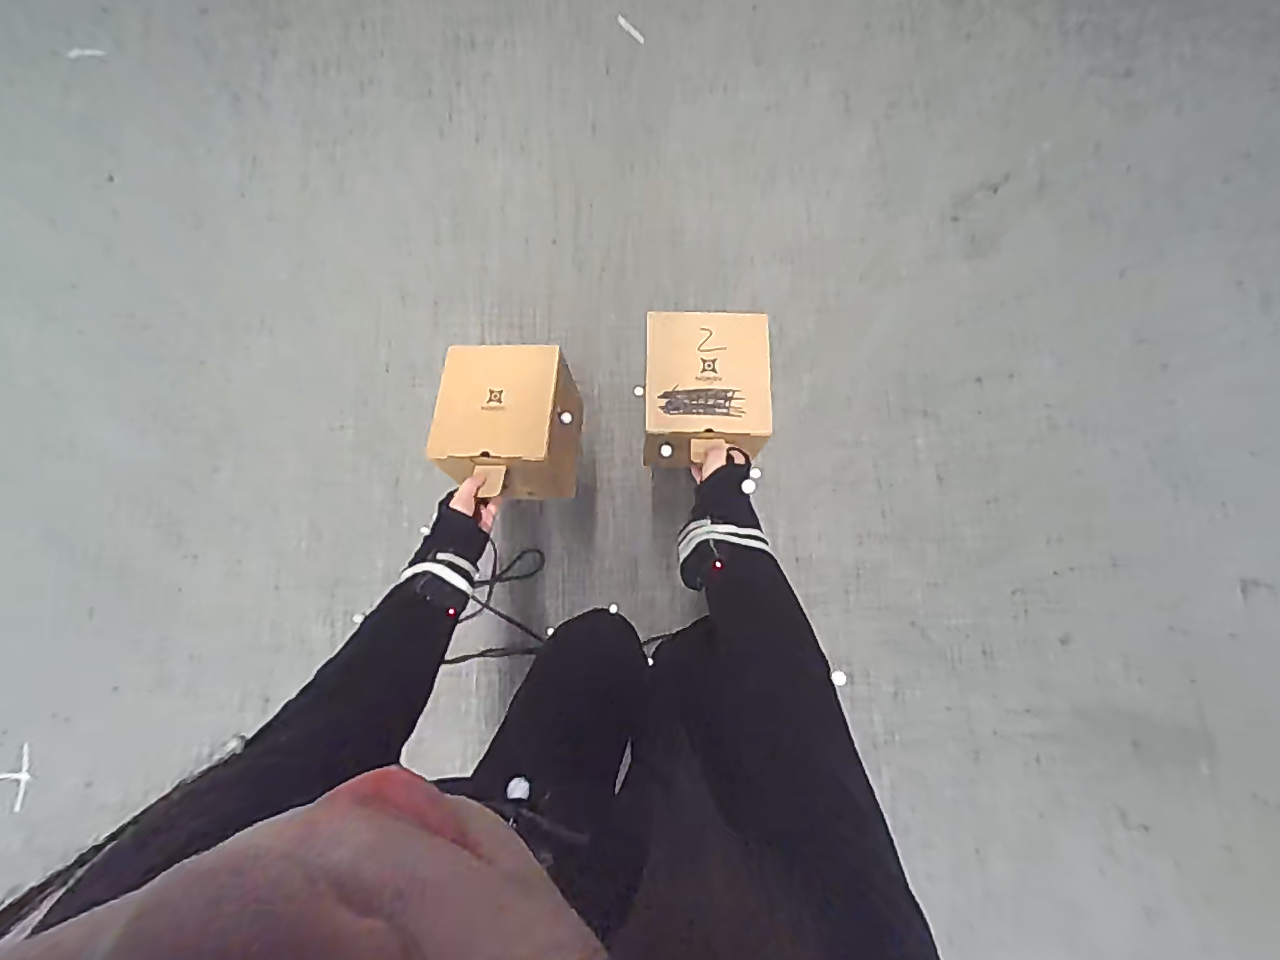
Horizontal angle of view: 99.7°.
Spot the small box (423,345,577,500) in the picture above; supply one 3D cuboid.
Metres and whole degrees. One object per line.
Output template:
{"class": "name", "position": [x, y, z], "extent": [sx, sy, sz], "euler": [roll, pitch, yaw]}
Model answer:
{"class": "small box", "position": [-0.194, -0.081, 0.808], "extent": [0.168, 0.176, 0.179], "euler": [2, 70, 6]}
